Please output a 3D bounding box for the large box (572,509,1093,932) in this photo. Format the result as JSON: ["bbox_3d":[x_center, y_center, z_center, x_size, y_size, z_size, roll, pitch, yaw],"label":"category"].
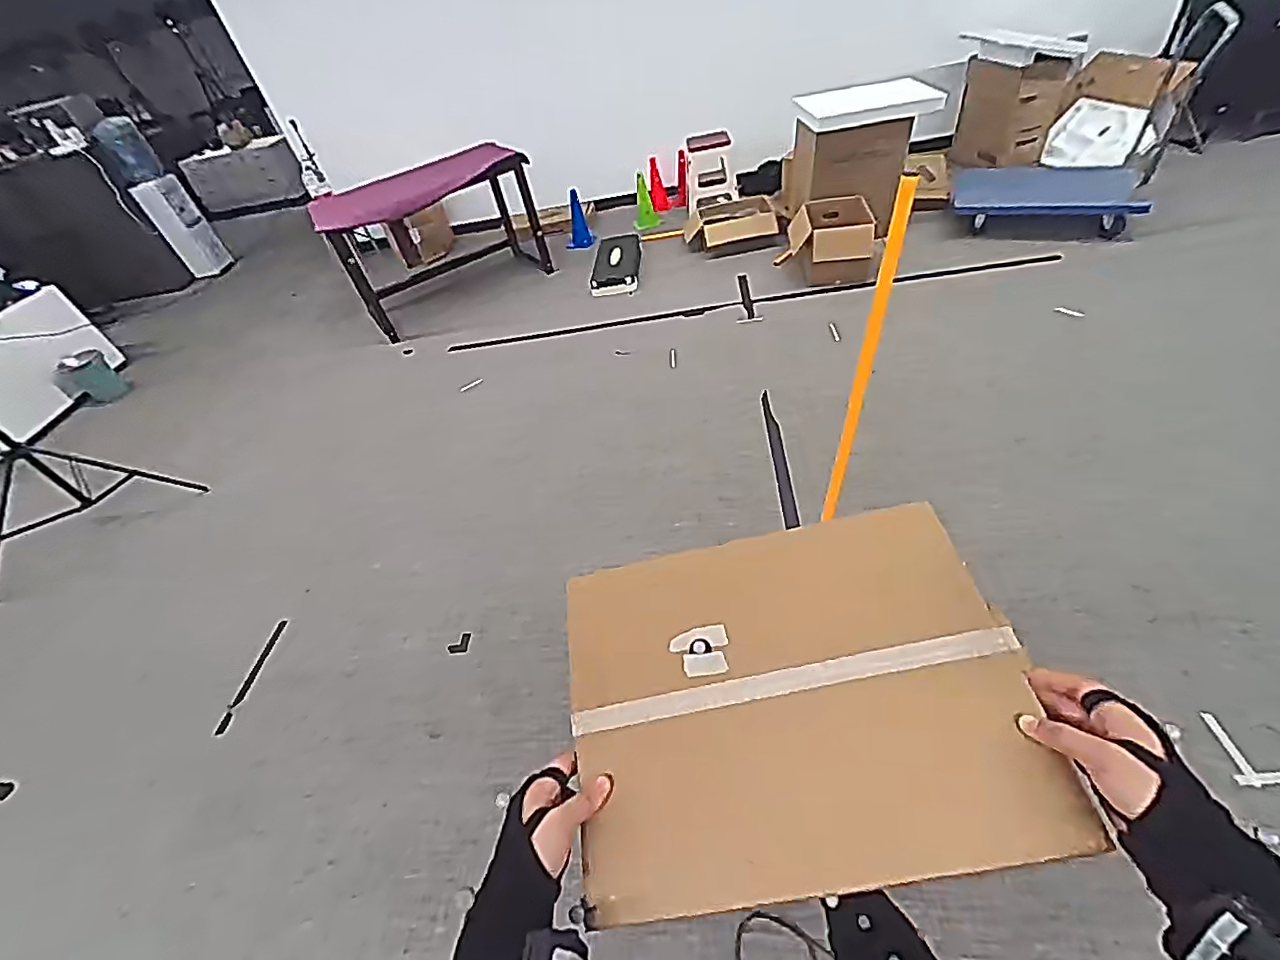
[{"bbox_3d":[0.170,0.283,0.633,0.408,0.320,0.320,-15,52,7],"label":"large box"}]
